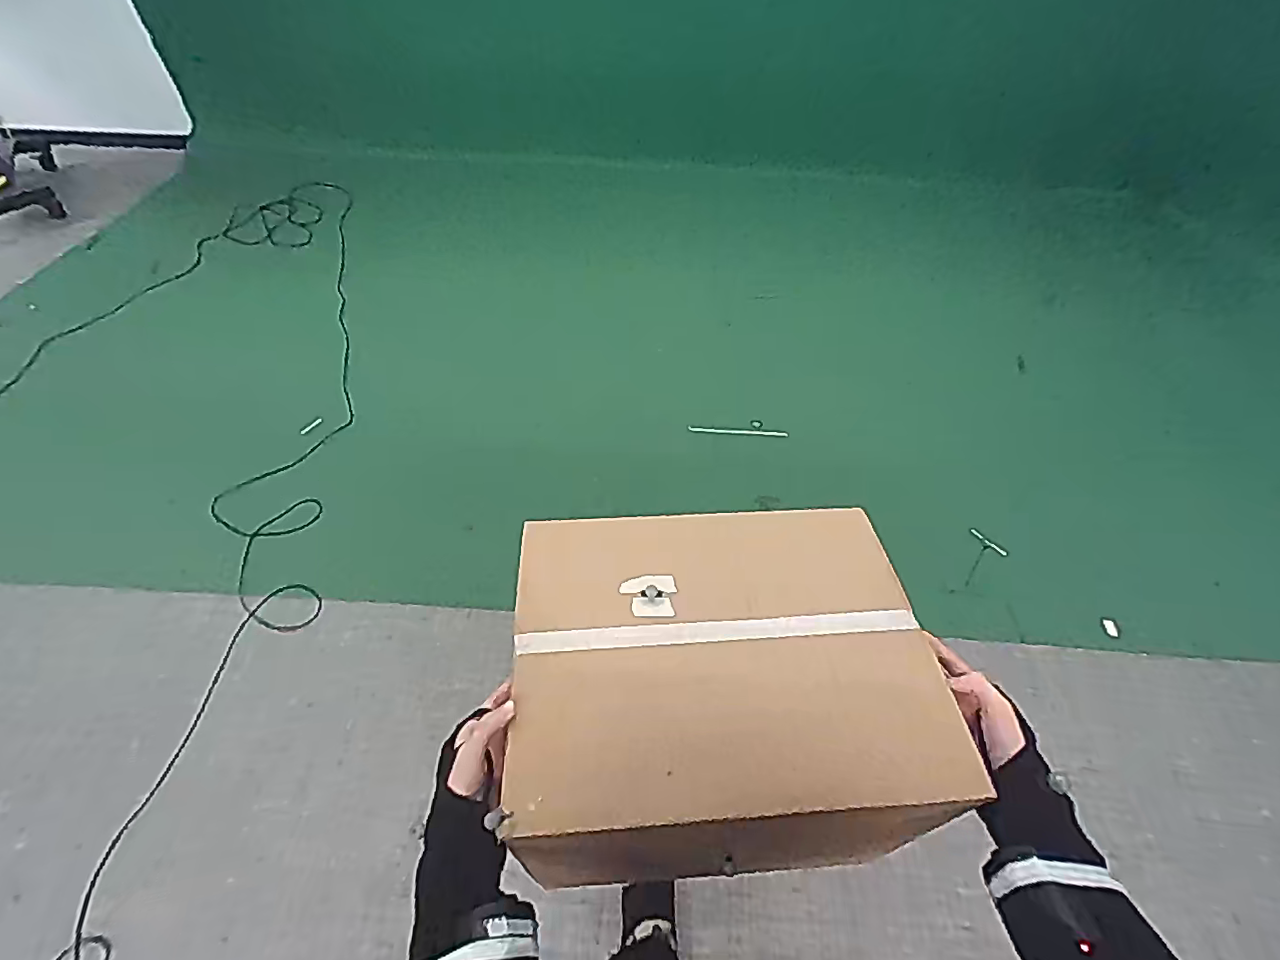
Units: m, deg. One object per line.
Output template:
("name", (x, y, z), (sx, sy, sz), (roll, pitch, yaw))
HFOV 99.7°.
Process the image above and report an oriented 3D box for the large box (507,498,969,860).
("large box", (0.076, 0.246, 0.660), (0.408, 0.320, 0.320), (-3, 48, -3))
